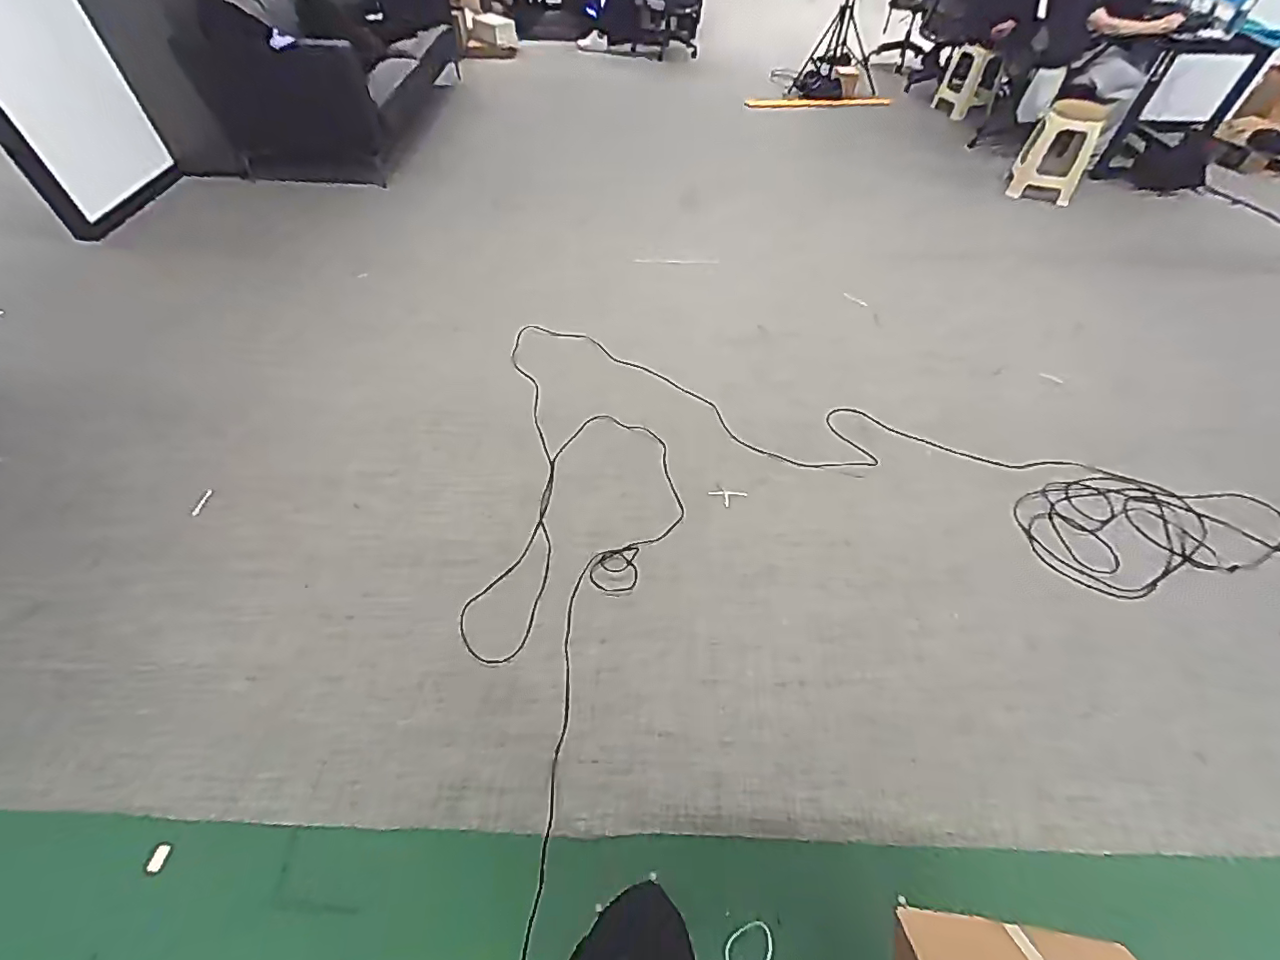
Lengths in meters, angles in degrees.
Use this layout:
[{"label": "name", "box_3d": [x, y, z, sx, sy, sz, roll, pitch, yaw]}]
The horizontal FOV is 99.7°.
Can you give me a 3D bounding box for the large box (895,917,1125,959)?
[{"label": "large box", "box_3d": [0.496, 0.794, 0.581, 0.320, 0.408, 0.320, 5, 85, 9]}]
